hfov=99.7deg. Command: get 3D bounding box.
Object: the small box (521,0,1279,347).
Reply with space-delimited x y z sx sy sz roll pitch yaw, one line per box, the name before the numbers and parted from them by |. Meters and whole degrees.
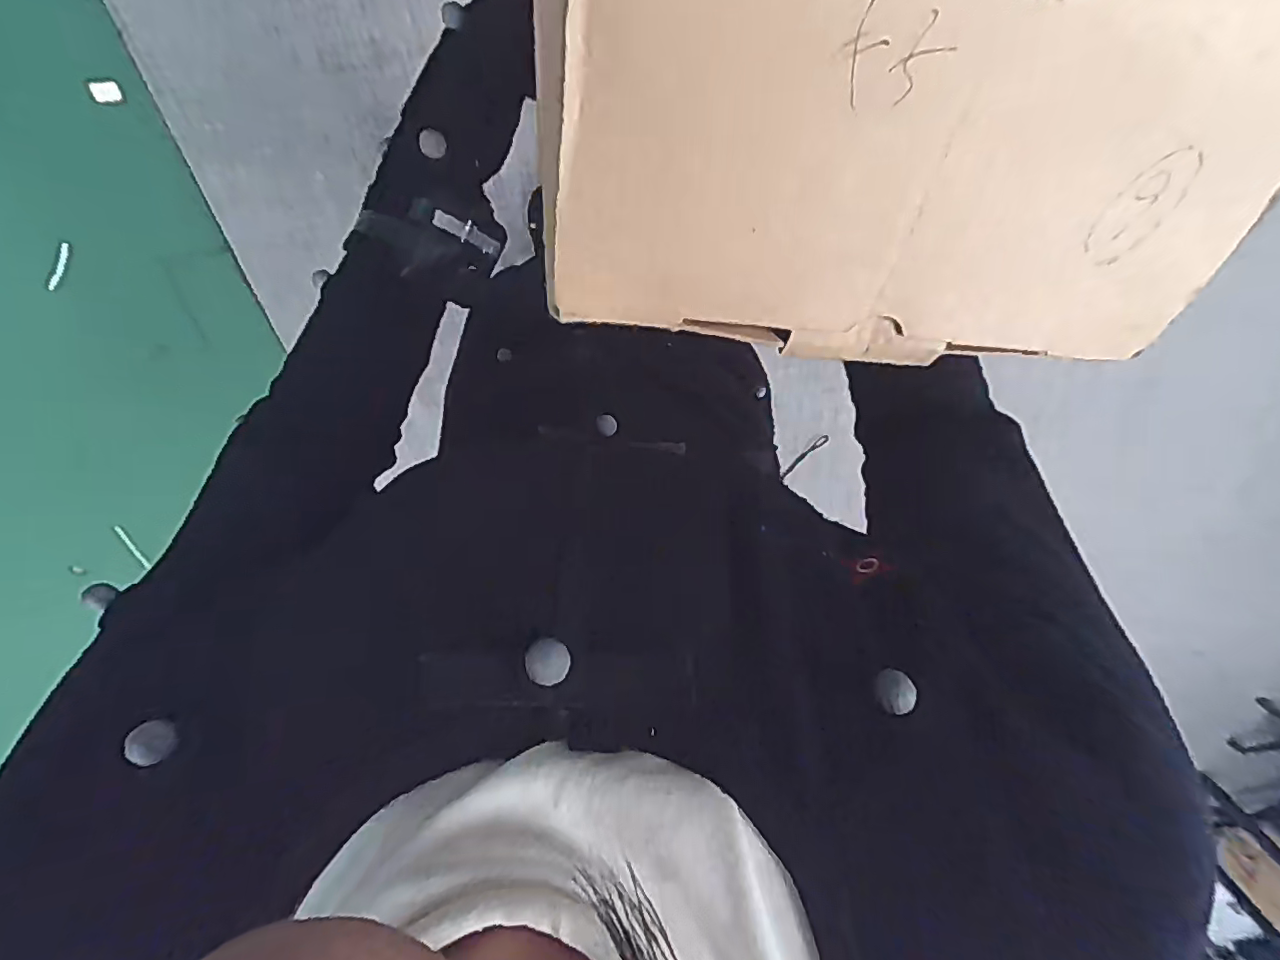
small box | 0.056 -0.160 0.146 0.168 0.176 0.179 1 134 -11
